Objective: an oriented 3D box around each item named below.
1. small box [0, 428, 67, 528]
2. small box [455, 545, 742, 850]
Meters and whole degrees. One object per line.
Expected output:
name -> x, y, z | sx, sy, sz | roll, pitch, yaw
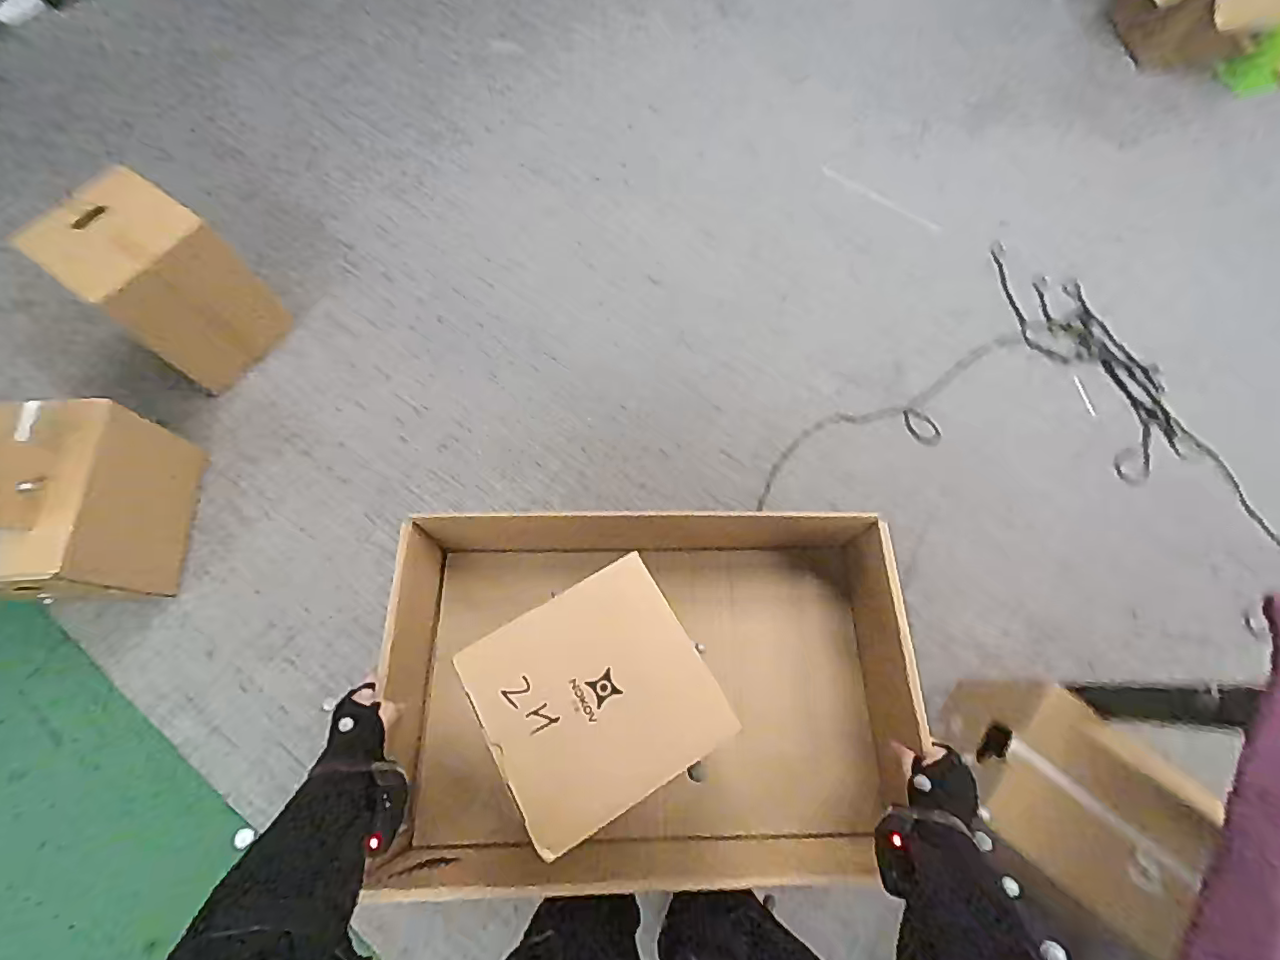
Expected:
small box -> -1.317, -0.005, 1.061 | 0.179, 0.176, 0.168 | 1, 70, -2
small box -> -0.036, 0.188, 0.497 | 0.179, 0.176, 0.168 | -29, 70, -12
